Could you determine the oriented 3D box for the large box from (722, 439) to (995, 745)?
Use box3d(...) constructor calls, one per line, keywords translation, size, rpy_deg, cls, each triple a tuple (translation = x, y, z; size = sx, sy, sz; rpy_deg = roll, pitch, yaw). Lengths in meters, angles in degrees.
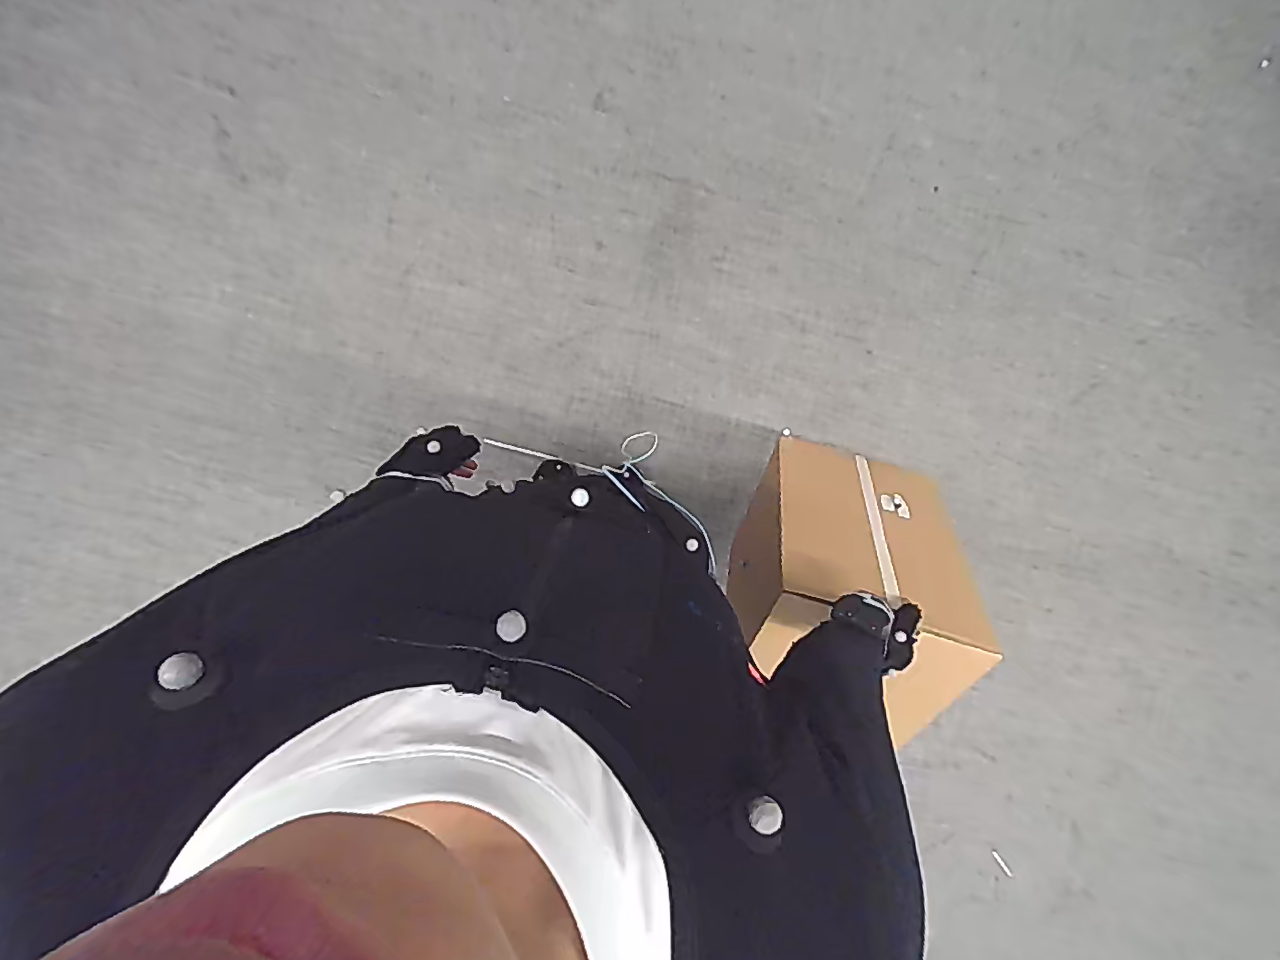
box3d(translation=(0.349, 0.190, 0.989), size=(0.320, 0.408, 0.320), rpy_deg=(17, 128, 1), cls="large box")
